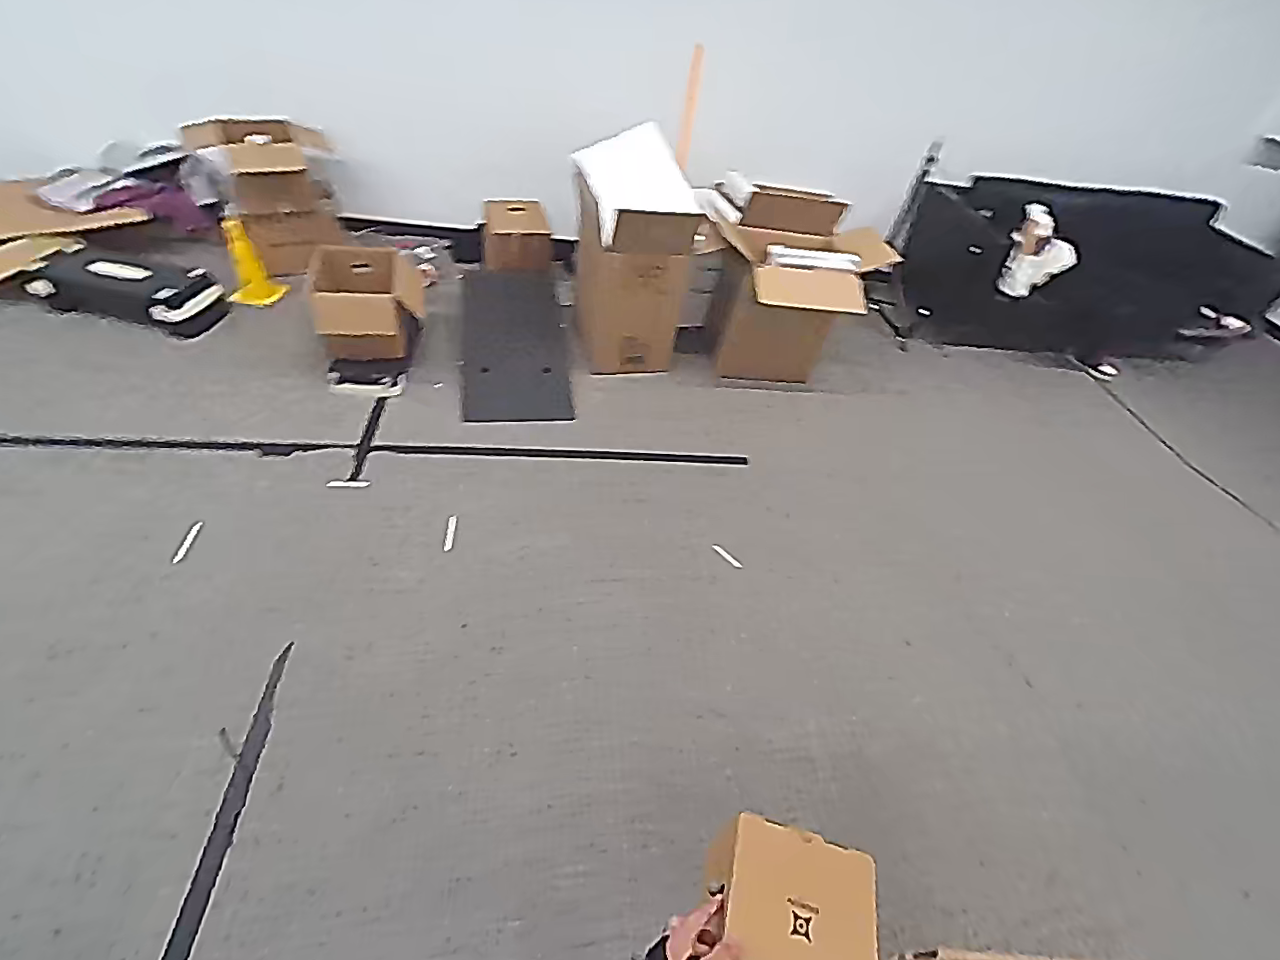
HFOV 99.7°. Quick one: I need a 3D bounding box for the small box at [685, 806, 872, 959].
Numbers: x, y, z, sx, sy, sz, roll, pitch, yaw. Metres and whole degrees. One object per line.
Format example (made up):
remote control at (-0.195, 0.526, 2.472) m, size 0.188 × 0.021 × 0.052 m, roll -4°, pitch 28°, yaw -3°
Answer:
small box at (0.155, 0.525, 0.631) m, size 0.168 × 0.176 × 0.179 m, roll 16°, pitch 41°, yaw 5°
